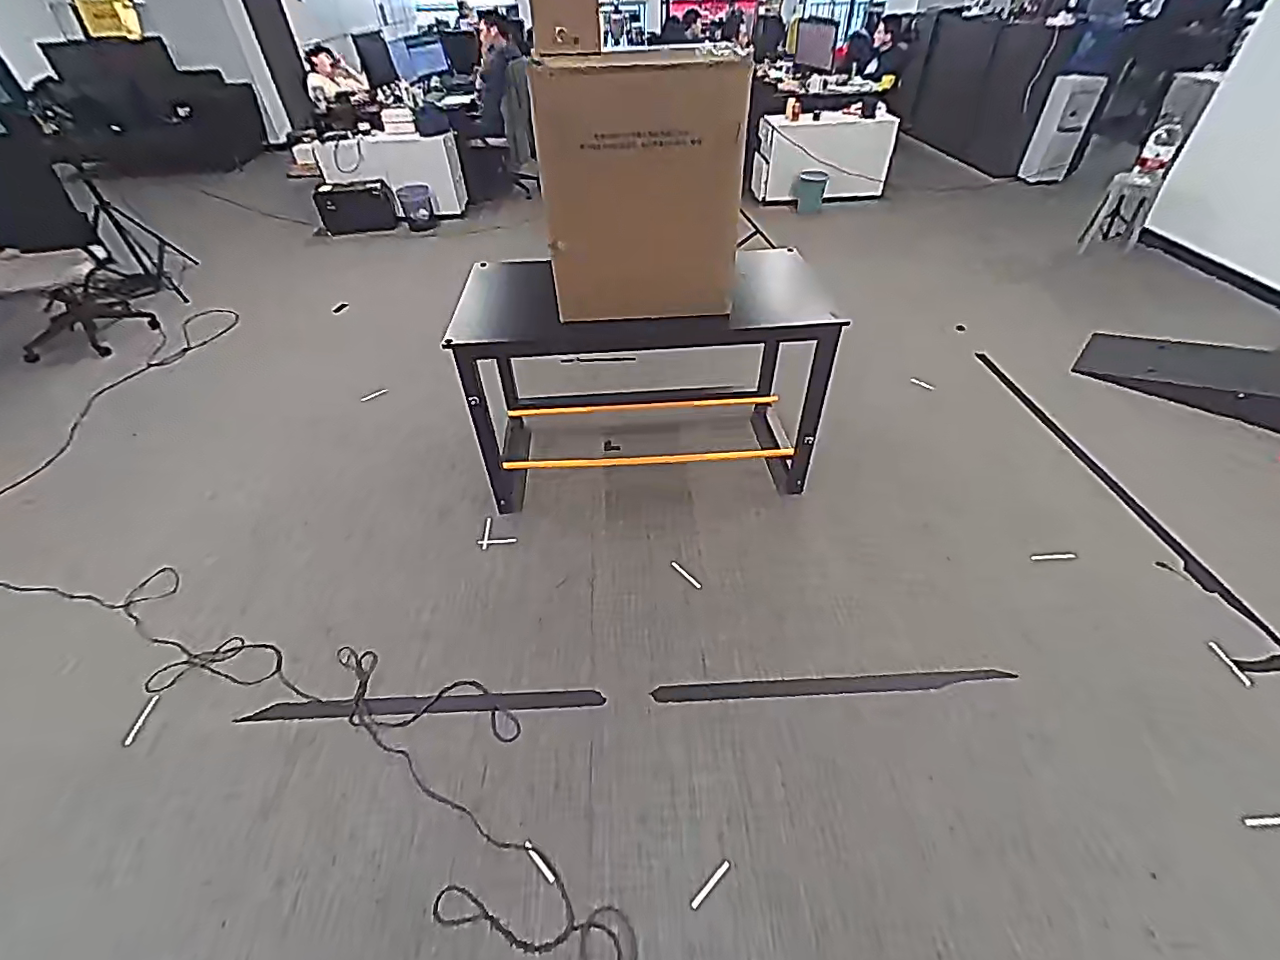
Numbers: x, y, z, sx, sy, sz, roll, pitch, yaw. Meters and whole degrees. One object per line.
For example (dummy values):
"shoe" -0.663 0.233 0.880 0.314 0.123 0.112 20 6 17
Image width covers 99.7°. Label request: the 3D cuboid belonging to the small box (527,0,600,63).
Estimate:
"small box" -0.190 -1.150 1.343 0.168 0.176 0.179 -6 42 -4
